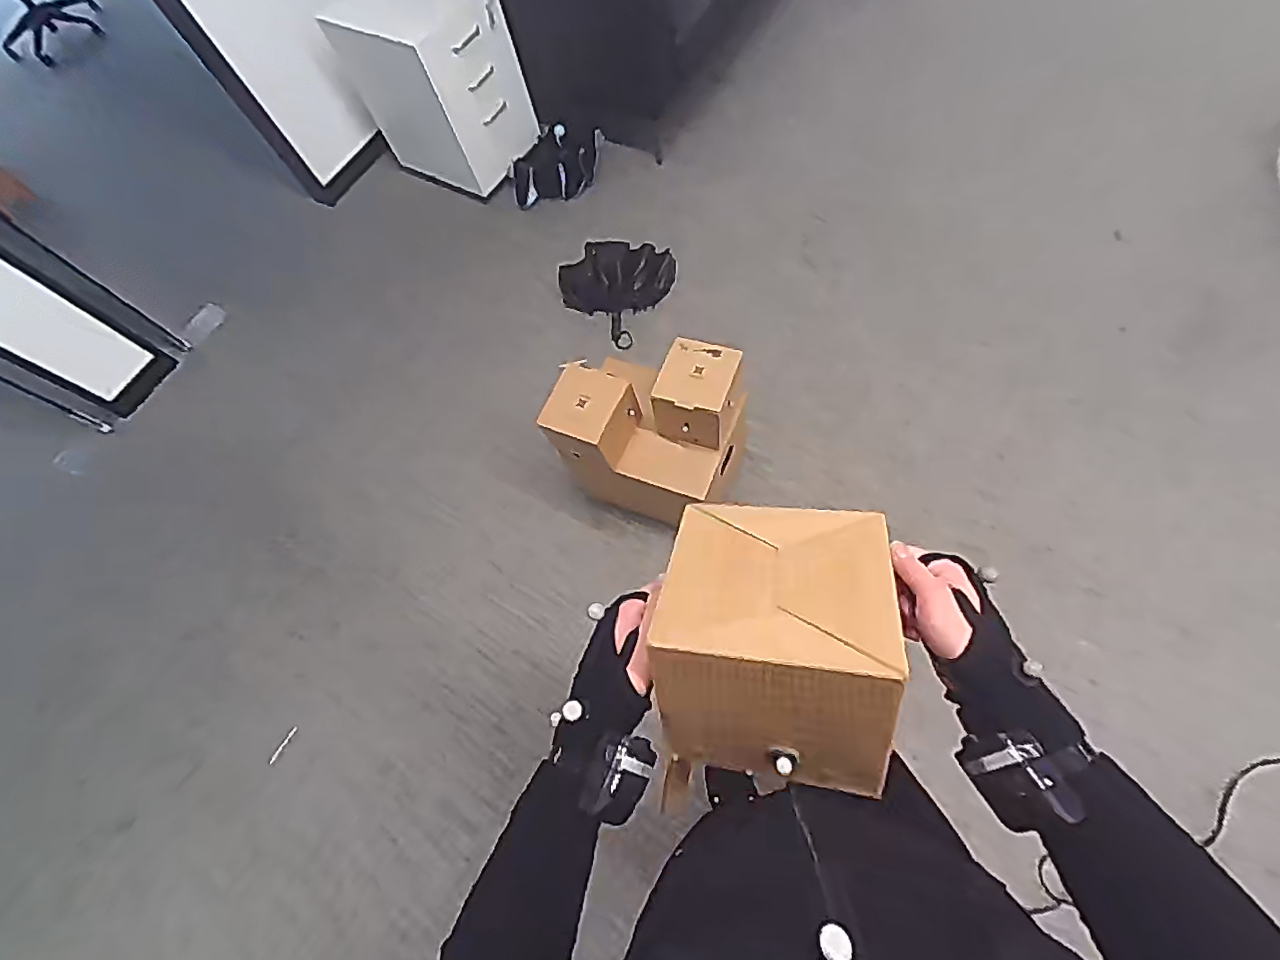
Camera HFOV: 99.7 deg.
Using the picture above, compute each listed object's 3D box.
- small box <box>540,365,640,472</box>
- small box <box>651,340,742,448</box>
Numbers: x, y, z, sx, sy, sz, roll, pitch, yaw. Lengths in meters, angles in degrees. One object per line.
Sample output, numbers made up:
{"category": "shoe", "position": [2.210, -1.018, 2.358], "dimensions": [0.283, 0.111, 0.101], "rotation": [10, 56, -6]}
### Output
{"category": "small box", "position": [-0.112, -0.146, 1.312], "dimensions": [0.168, 0.176, 0.179], "rotation": [20, 75, 18]}
{"category": "small box", "position": [0.141, -0.200, 1.289], "dimensions": [0.168, 0.176, 0.179], "rotation": [17, 70, 16]}
